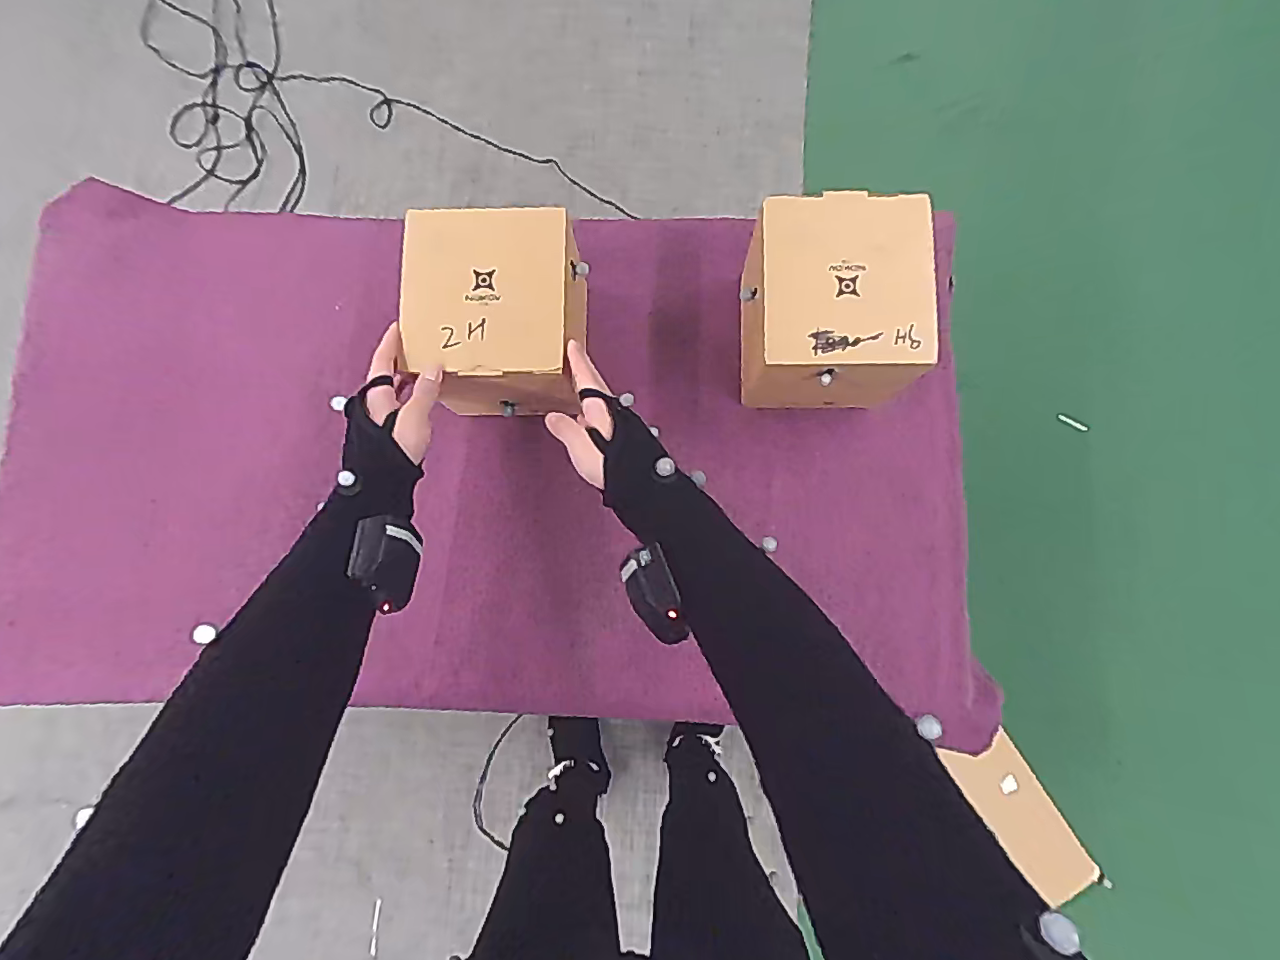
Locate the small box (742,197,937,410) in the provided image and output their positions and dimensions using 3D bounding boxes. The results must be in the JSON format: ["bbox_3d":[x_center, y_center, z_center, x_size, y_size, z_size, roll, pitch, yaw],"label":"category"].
[{"bbox_3d":[0.208,-0.186,0.610,0.168,0.176,0.179,0,82,3],"label":"small box"}]

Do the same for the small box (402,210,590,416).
[{"bbox_3d":[-0.150,-0.180,0.621,0.168,0.176,0.179,0,83,2],"label":"small box"}]
